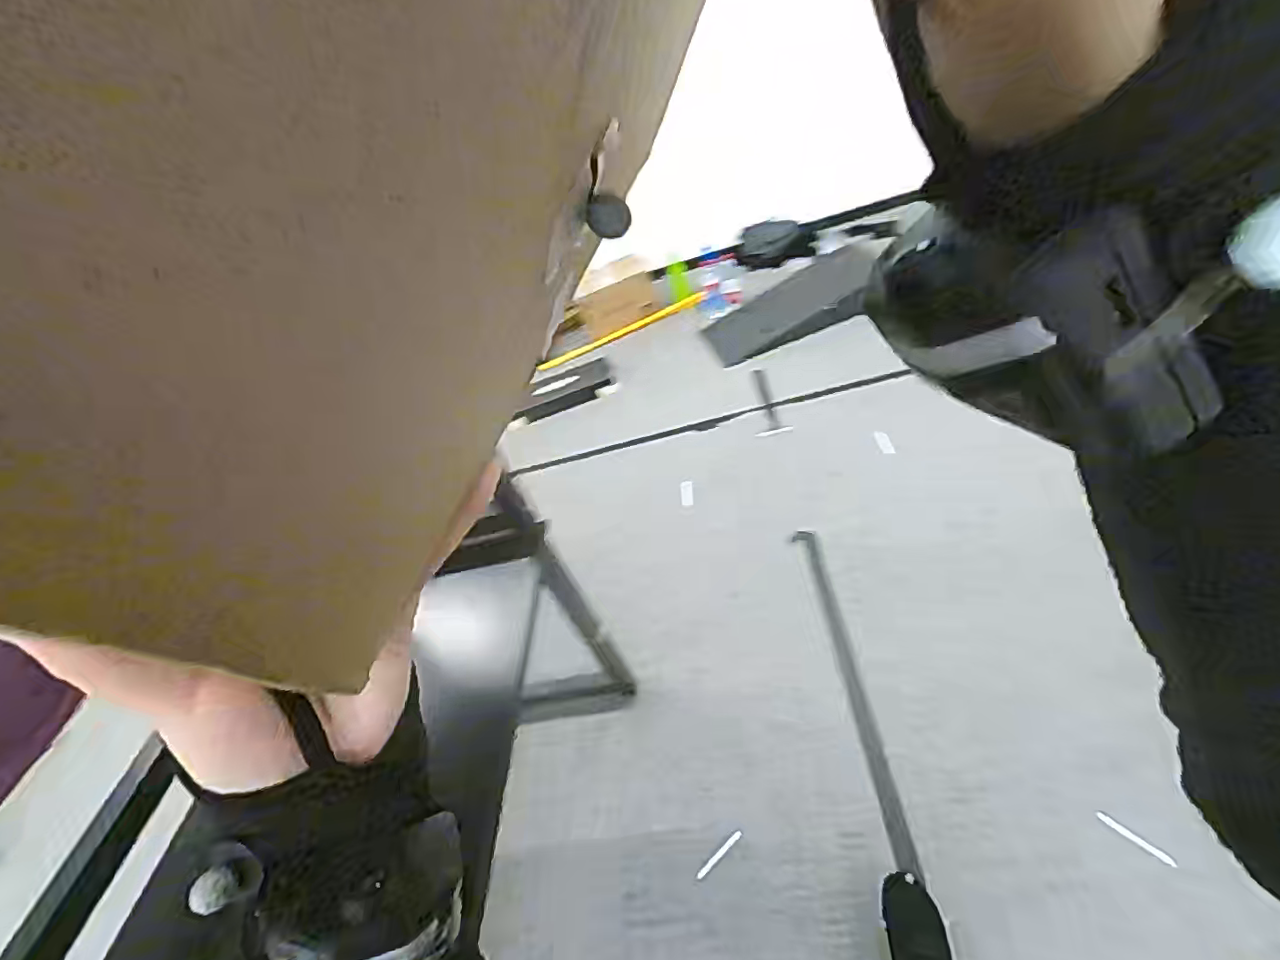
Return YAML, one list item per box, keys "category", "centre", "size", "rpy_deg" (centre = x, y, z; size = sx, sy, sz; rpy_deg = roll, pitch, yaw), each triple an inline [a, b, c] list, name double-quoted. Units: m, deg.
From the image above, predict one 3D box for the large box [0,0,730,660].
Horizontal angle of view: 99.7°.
- category: "large box"
  centre: [-0.165, -0.199, 0.087]
  size: [0.408, 0.320, 0.320]
  rpy_deg: [24, 61, -5]
